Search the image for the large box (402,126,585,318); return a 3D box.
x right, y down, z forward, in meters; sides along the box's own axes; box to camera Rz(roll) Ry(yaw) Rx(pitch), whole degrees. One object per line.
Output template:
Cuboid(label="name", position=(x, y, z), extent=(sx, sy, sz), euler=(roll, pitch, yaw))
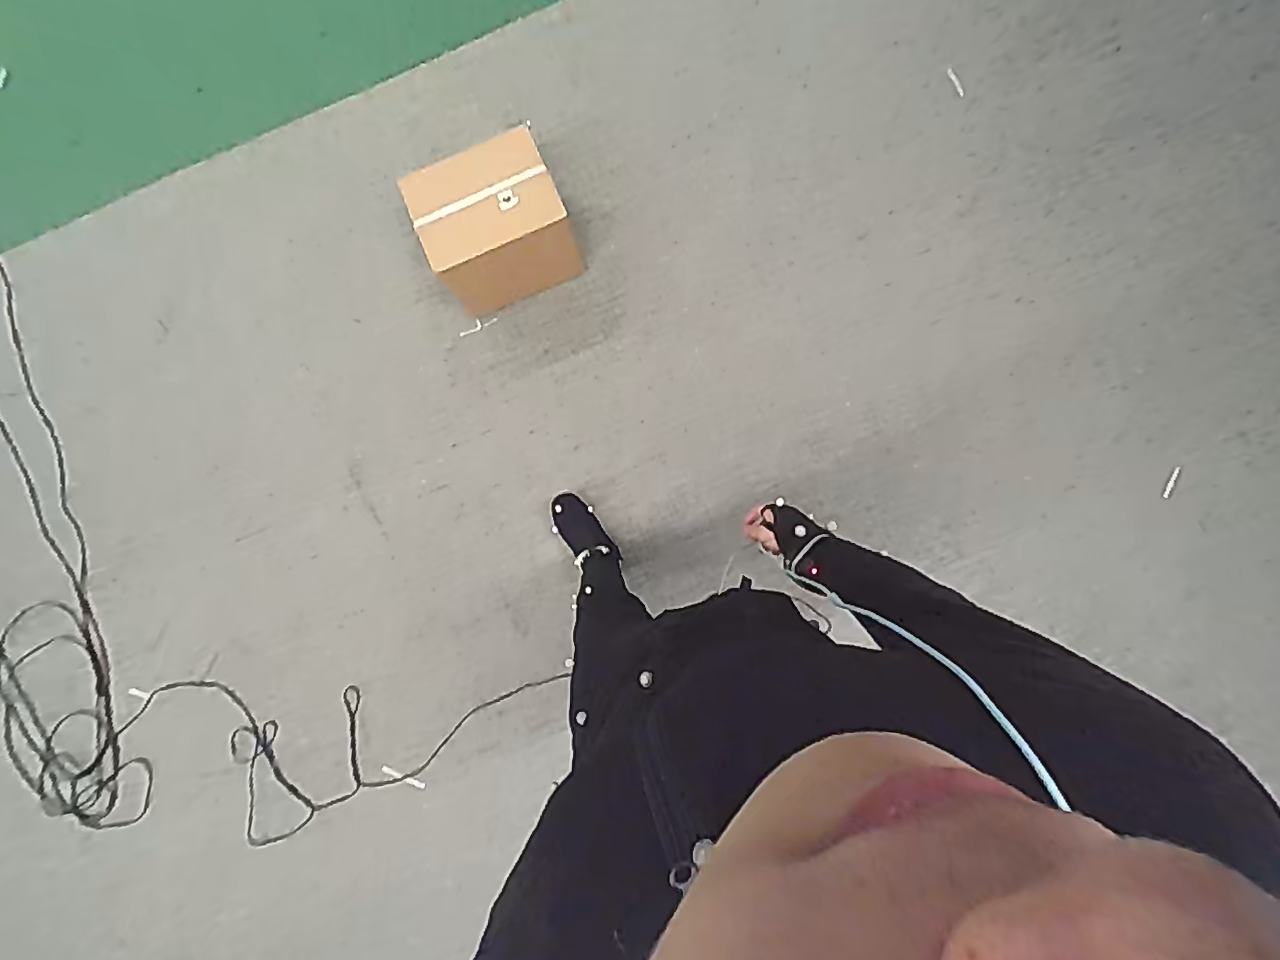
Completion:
Cuboid(label="large box", position=(-0.426, -0.762, 1.648), extent=(0.408, 0.320, 0.320), euler=(-23, 82, 0))
